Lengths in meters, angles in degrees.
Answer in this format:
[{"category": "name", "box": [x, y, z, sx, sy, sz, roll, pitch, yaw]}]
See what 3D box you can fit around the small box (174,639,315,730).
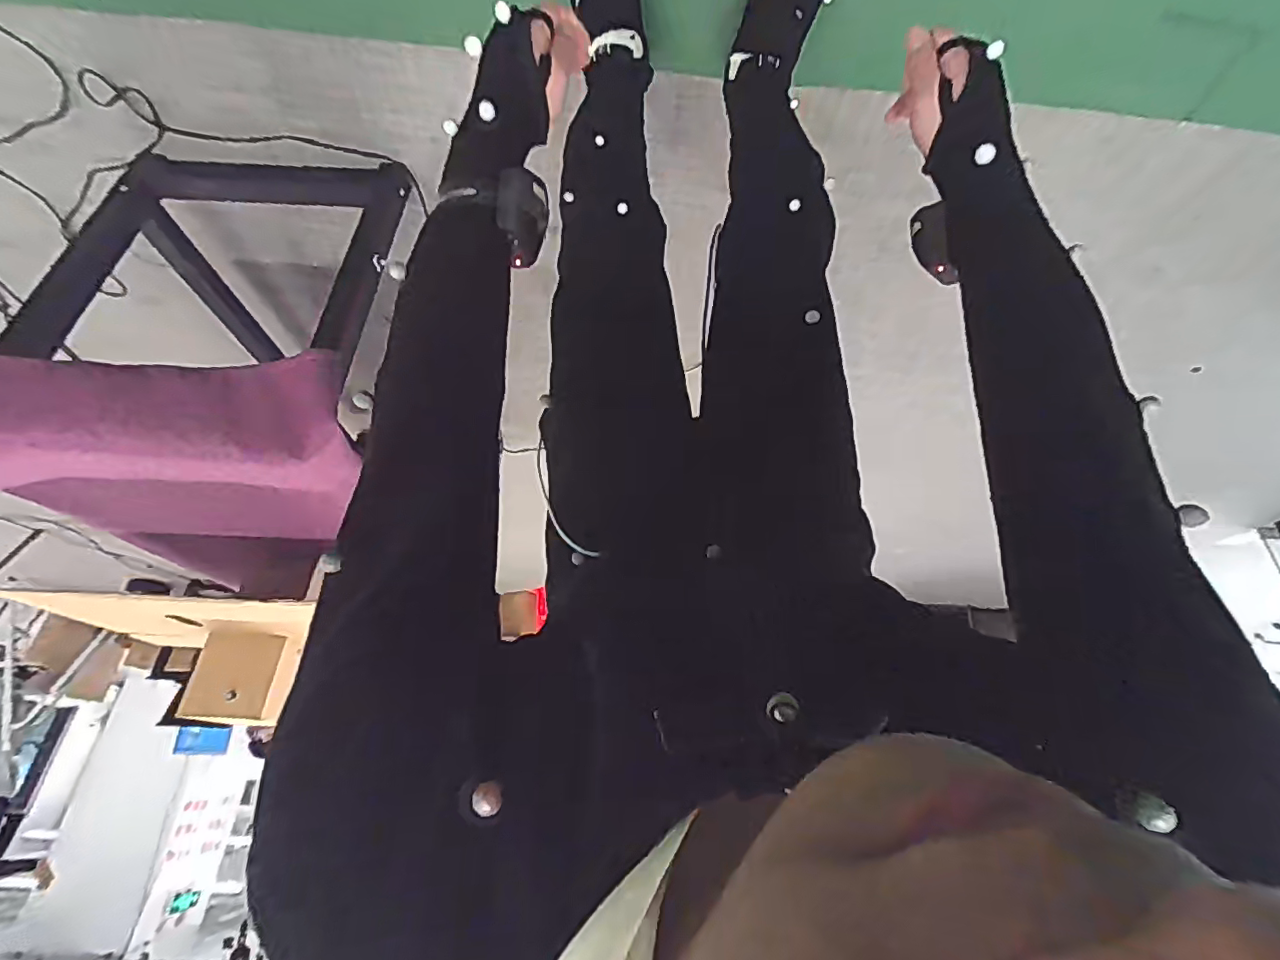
[{"category": "small box", "box": [-0.851, 0.452, 1.191, 0.179, 0.176, 0.168, 2, 151, 1]}]
